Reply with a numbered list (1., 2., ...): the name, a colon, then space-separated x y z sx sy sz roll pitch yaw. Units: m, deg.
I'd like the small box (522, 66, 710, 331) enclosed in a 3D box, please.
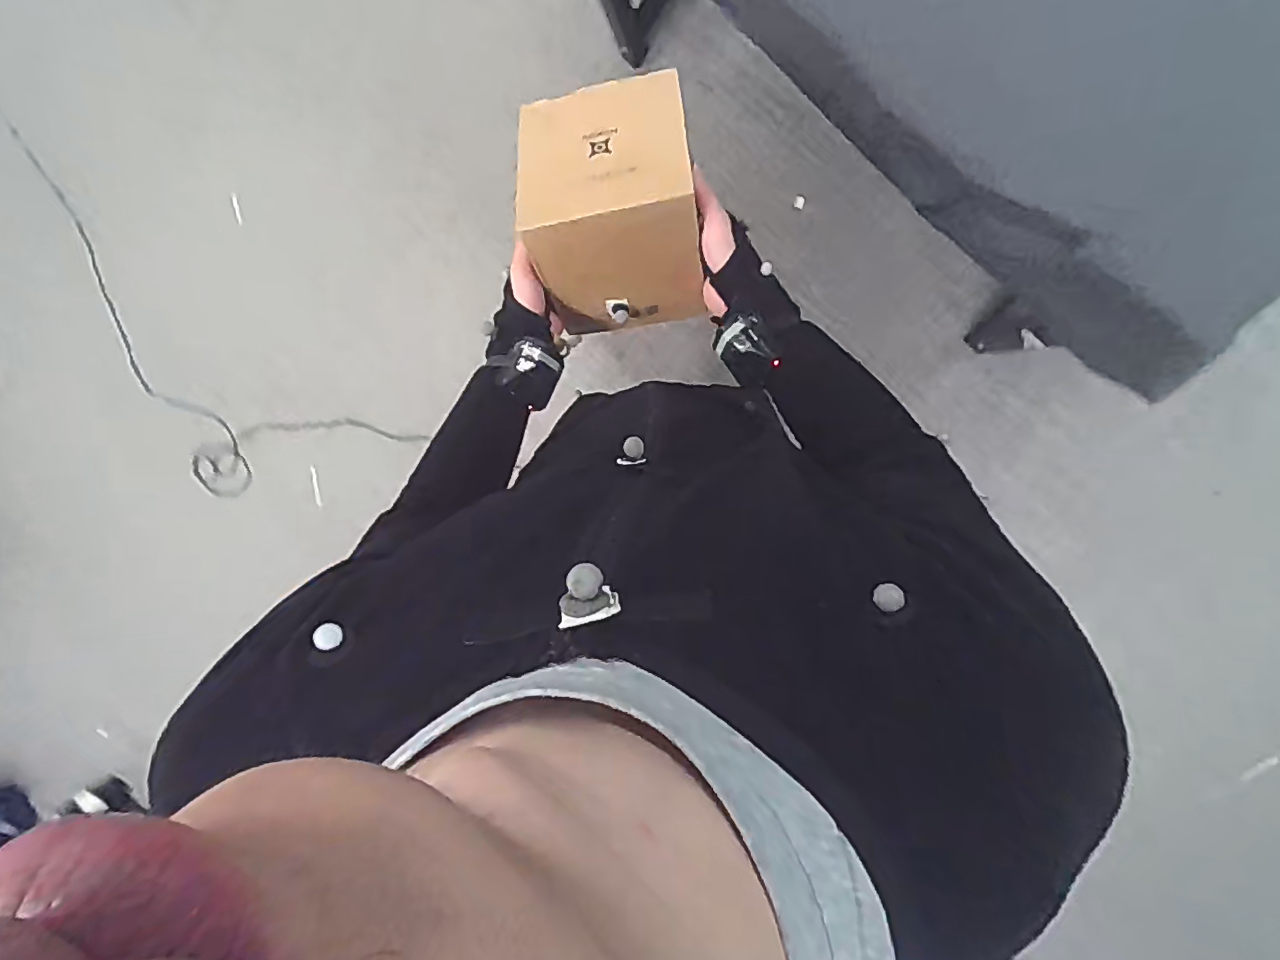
1. small box: -0.016 -0.288 0.579 0.168 0.176 0.179 -6 69 8
